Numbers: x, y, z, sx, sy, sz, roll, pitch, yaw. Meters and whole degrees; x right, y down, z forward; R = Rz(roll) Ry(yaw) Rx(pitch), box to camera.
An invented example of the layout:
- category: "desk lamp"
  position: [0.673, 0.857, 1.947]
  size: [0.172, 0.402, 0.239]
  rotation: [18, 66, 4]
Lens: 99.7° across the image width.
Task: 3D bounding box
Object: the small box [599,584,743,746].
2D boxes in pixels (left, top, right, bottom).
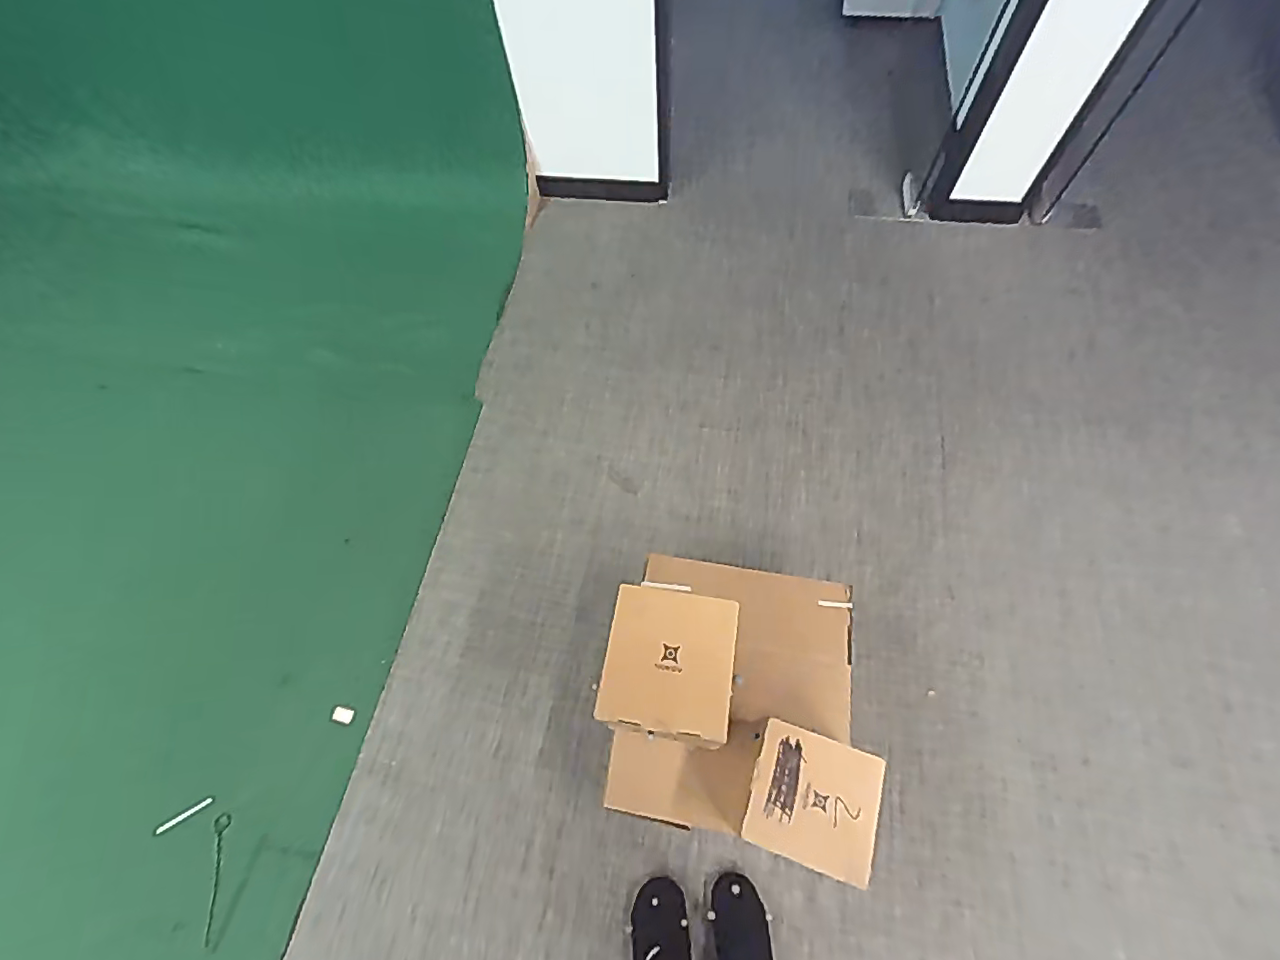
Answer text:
- category: "small box"
  position: [0.047, 0.266, 0.768]
  size: [0.168, 0.176, 0.179]
  rotation: [8, 64, 8]
